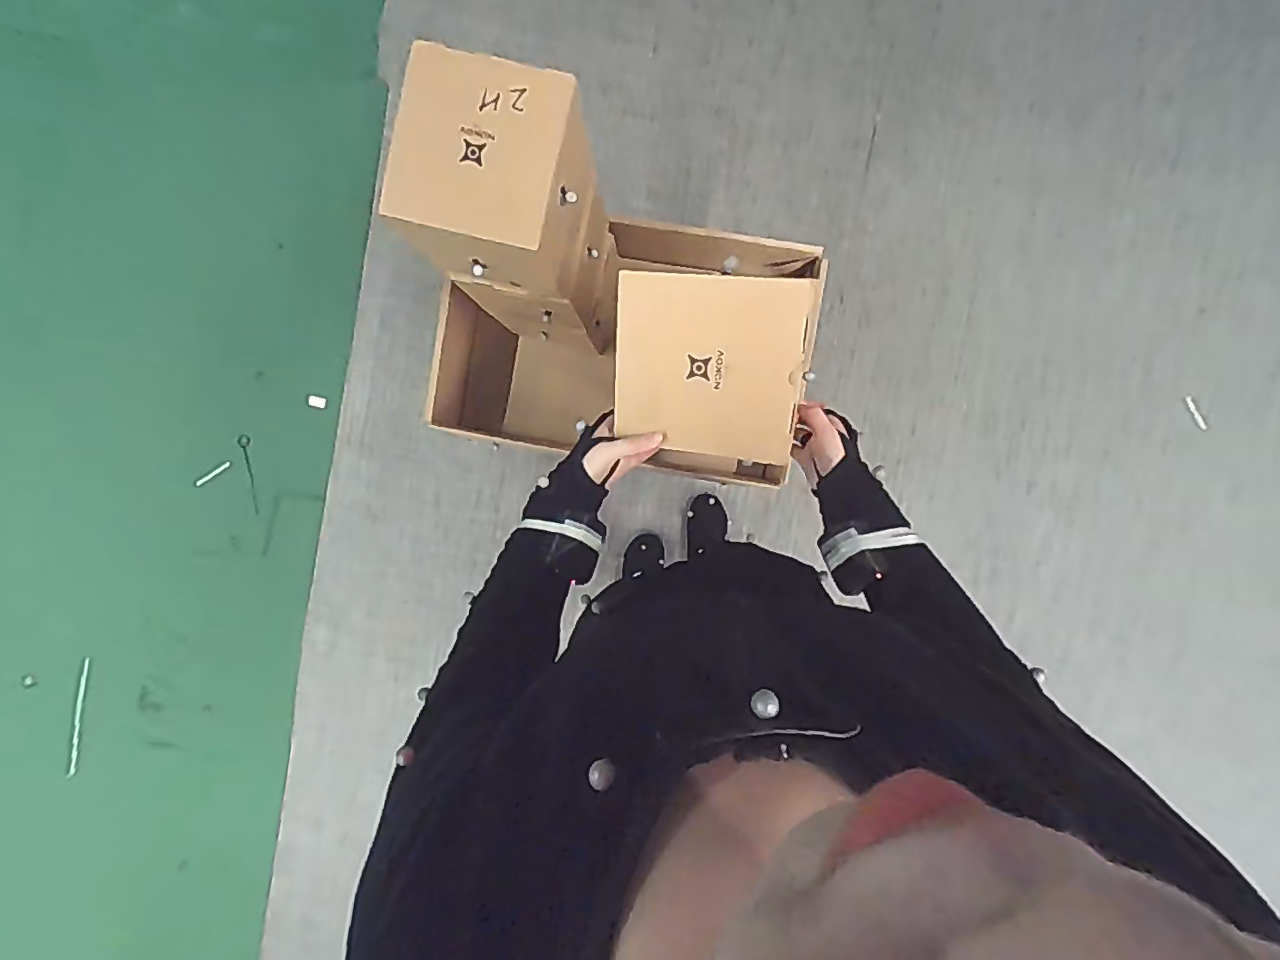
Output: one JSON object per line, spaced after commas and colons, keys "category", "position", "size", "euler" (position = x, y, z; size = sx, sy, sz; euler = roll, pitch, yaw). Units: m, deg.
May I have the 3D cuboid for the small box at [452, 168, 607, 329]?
{"category": "small box", "position": [-0.146, -0.332, 0.777], "size": [0.168, 0.176, 0.179], "euler": [12, 92, 1]}

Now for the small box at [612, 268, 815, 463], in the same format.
{"category": "small box", "position": [0.083, -0.130, 0.574], "size": [0.179, 0.176, 0.168], "euler": [9, 112, 15]}

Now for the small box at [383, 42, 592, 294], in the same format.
{"category": "small box", "position": [-0.157, -0.331, 0.613], "size": [0.168, 0.176, 0.179], "euler": [14, 93, 0]}
